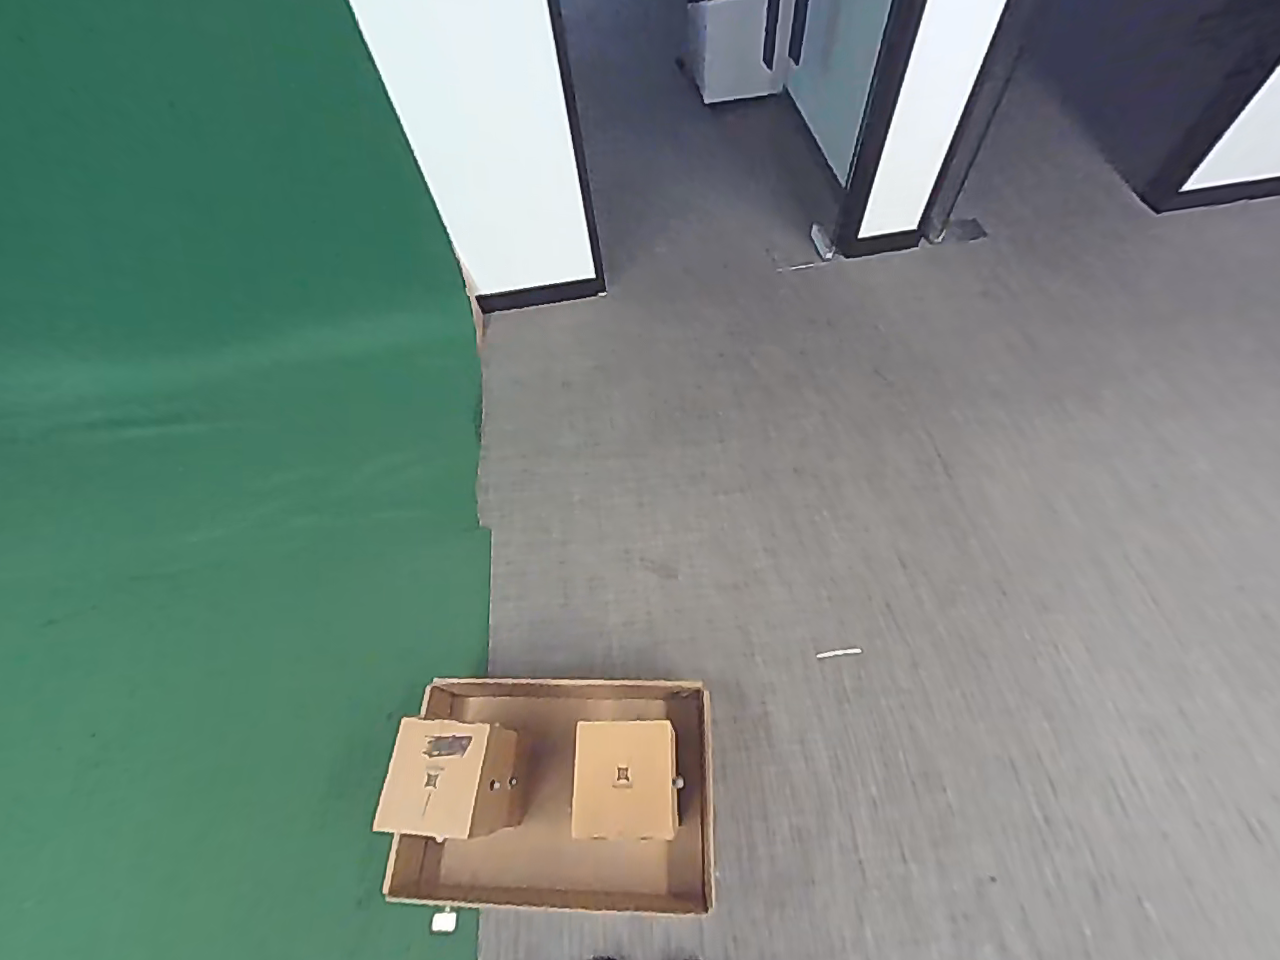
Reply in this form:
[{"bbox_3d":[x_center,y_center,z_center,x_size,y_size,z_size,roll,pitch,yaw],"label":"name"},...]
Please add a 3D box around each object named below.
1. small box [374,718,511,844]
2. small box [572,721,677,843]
[{"bbox_3d":[-0.344,0.545,0.986,0.168,0.176,0.179,3,61,5],"label":"small box"},{"bbox_3d":[-0.020,0.536,0.963,0.168,0.176,0.179,-2,60,5],"label":"small box"}]
